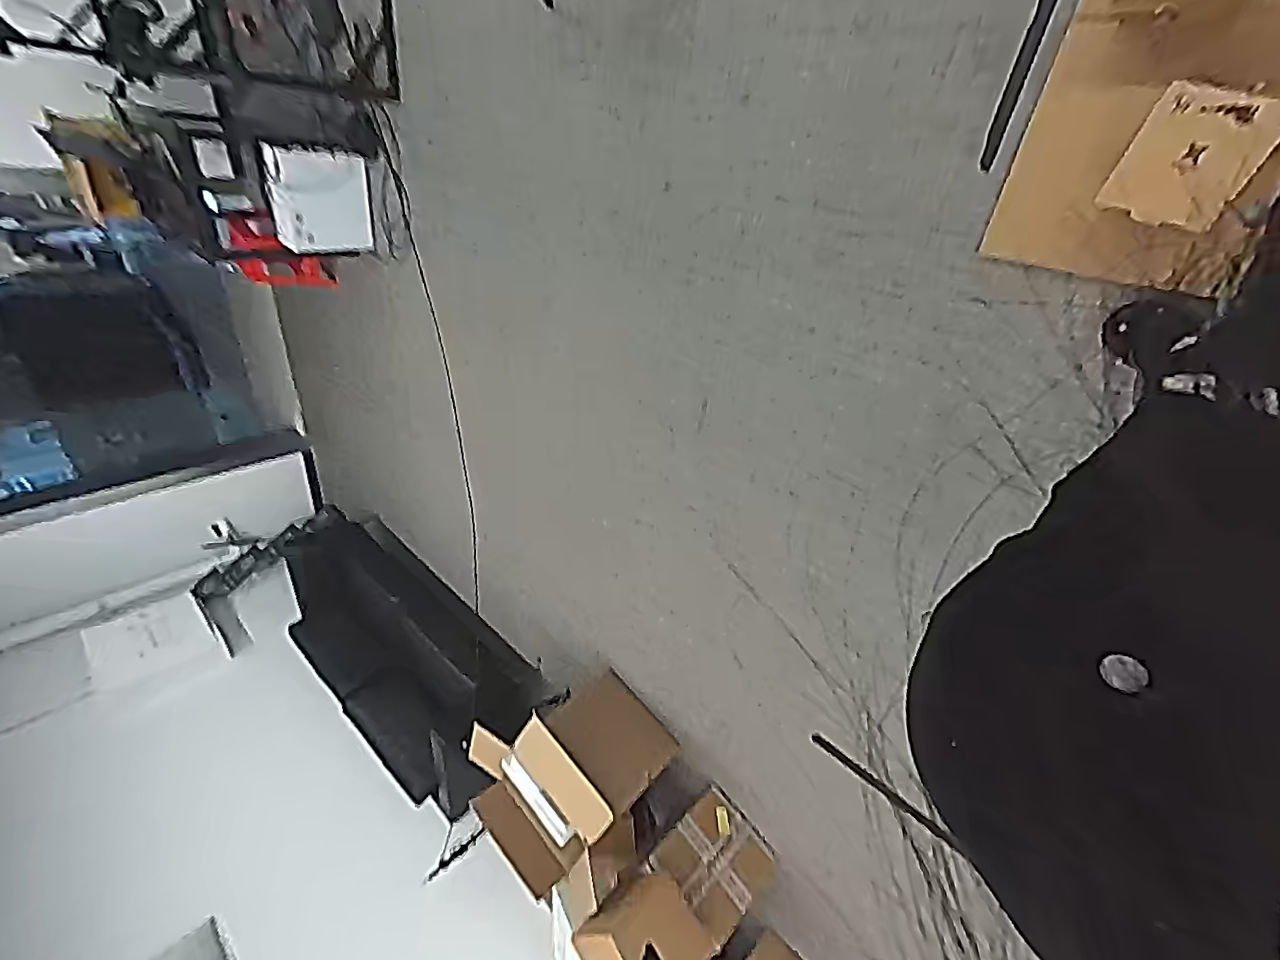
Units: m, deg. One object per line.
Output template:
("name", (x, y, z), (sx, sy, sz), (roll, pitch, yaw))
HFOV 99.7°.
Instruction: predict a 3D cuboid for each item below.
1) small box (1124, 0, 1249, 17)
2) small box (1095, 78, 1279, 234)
("small box", (0.844, -0.821, 0.793), (0.168, 0.176, 0.179), (26, 126, 36))
("small box", (0.900, -0.522, 0.879), (0.168, 0.176, 0.179), (37, 134, 26))
